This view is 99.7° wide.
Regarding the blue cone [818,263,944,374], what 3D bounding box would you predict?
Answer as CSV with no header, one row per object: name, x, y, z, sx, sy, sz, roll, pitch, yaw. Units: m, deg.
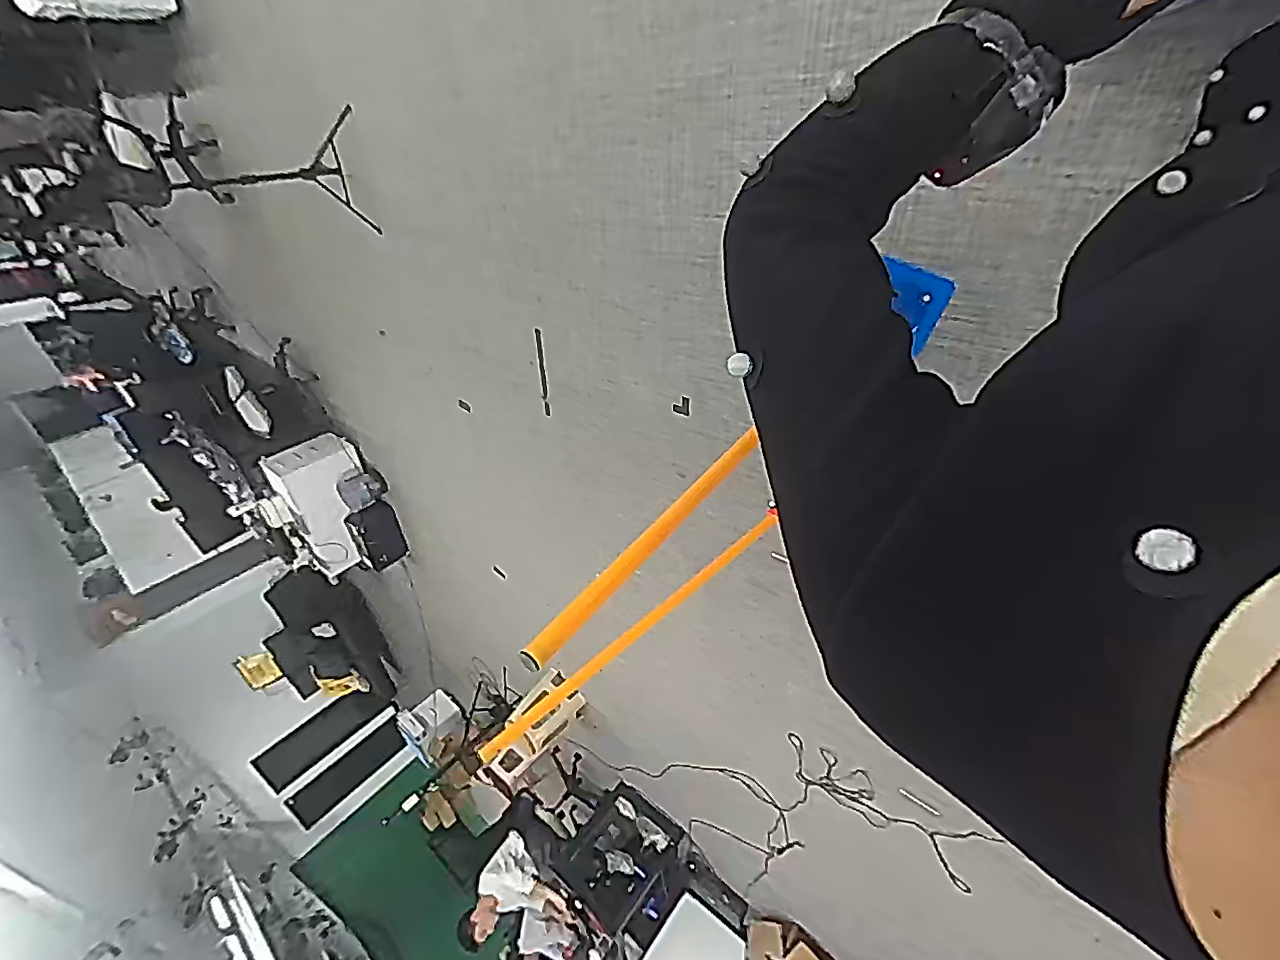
blue cone,0.487,-0.321,1.171,0.193,0.380,0.192,36,139,22
